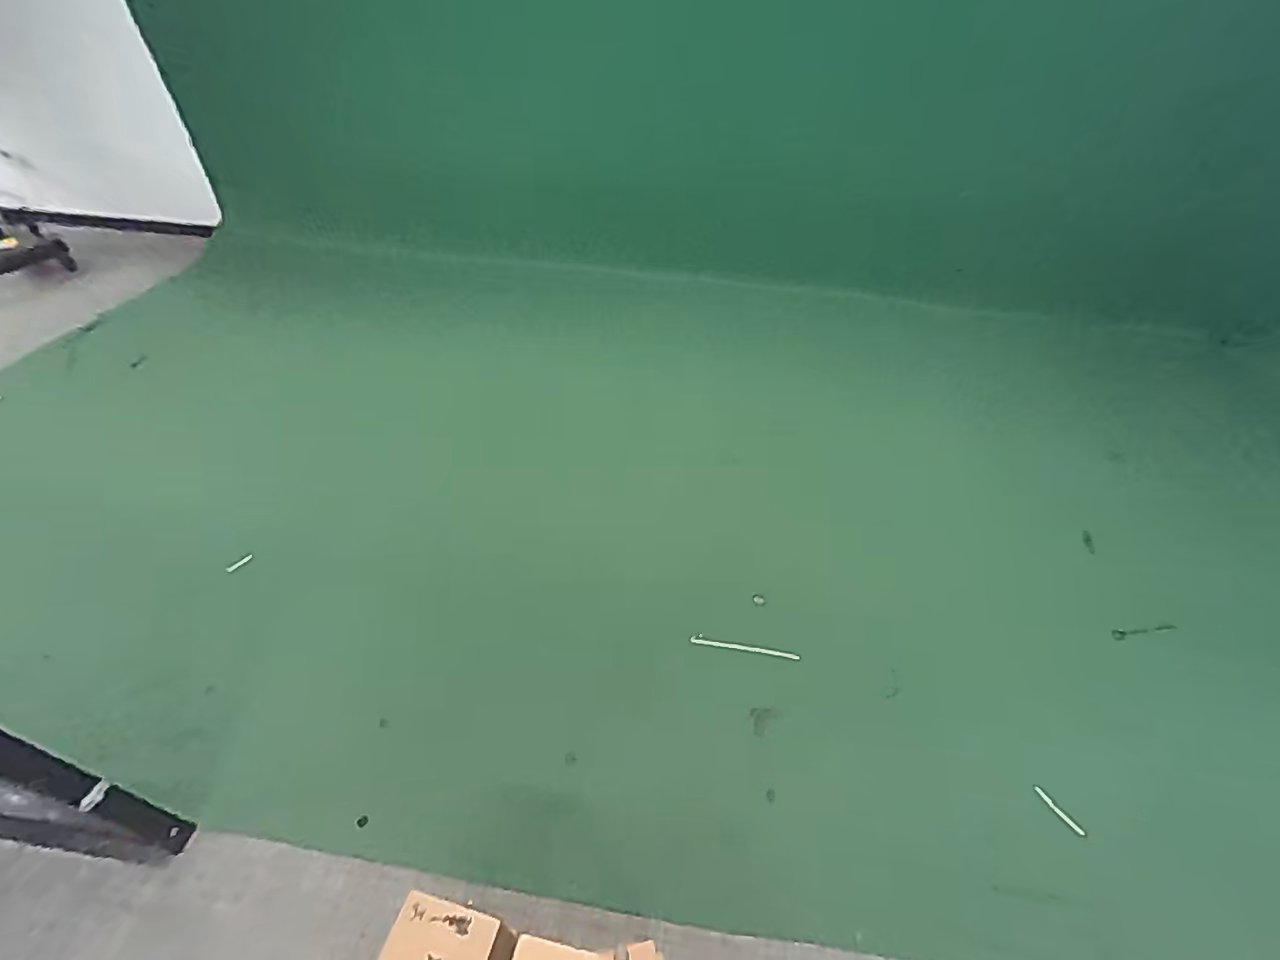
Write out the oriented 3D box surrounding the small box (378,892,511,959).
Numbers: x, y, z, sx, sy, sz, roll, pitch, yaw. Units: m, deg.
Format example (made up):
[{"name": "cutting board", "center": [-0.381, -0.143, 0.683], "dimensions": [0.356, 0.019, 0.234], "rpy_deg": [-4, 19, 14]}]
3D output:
[{"name": "small box", "center": [-0.322, 0.807, 0.869], "dimensions": [0.168, 0.176, 0.179], "rpy_deg": [11, 45, 10]}]
